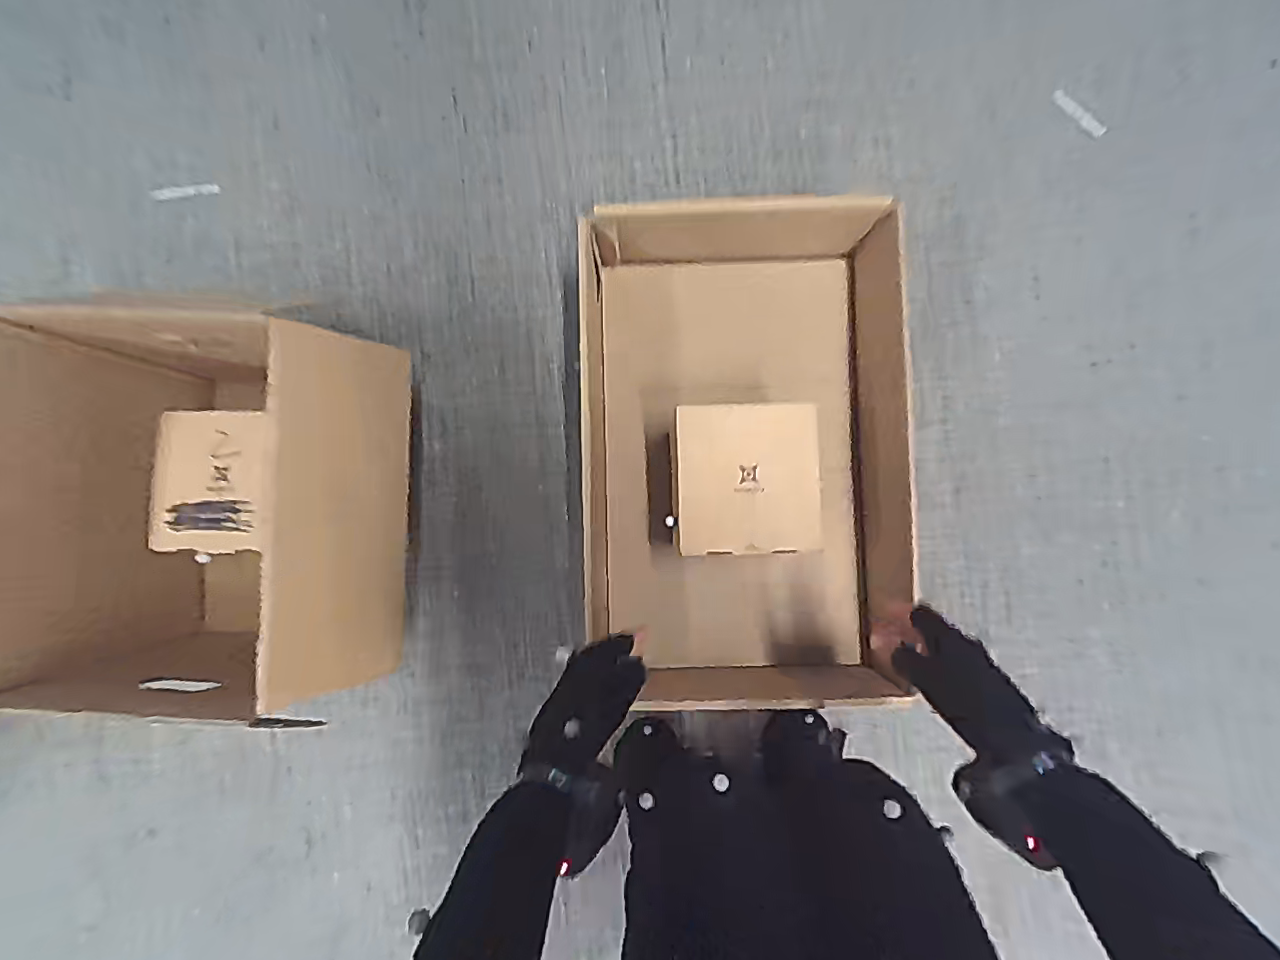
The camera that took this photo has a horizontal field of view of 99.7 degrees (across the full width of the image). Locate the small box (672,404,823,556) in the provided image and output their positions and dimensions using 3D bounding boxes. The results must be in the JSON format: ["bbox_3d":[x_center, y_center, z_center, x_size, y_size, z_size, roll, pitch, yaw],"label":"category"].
[{"bbox_3d":[0.129,0.005,0.708,0.168,0.176,0.179,-2,87,1],"label":"small box"}]
